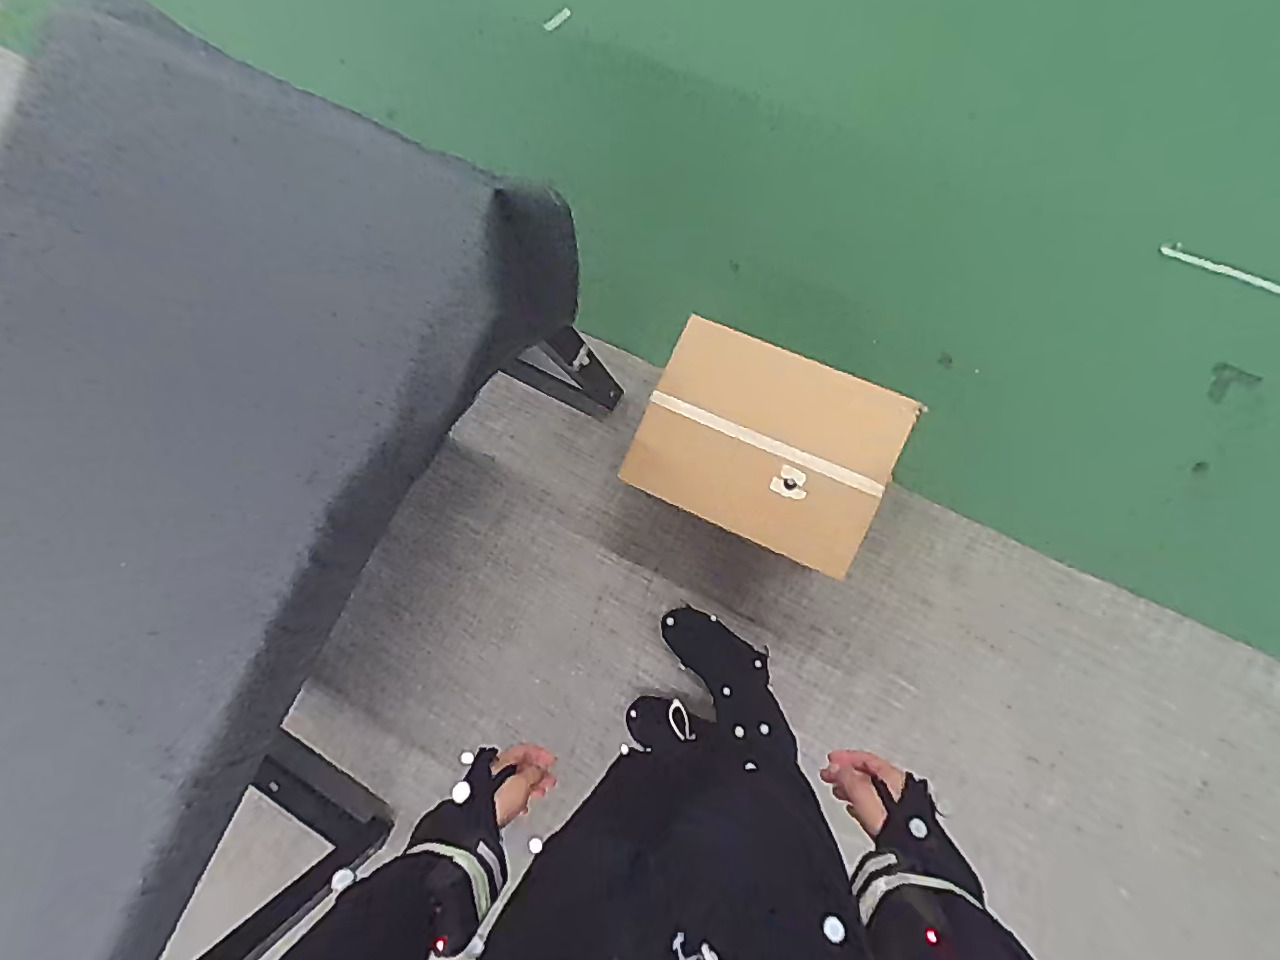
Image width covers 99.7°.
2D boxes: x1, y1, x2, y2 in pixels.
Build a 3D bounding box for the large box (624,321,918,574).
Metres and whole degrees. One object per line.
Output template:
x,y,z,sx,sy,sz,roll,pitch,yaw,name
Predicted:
0.228,-0.048,1.040,0.408,0.320,0.320,24,89,10,large box
